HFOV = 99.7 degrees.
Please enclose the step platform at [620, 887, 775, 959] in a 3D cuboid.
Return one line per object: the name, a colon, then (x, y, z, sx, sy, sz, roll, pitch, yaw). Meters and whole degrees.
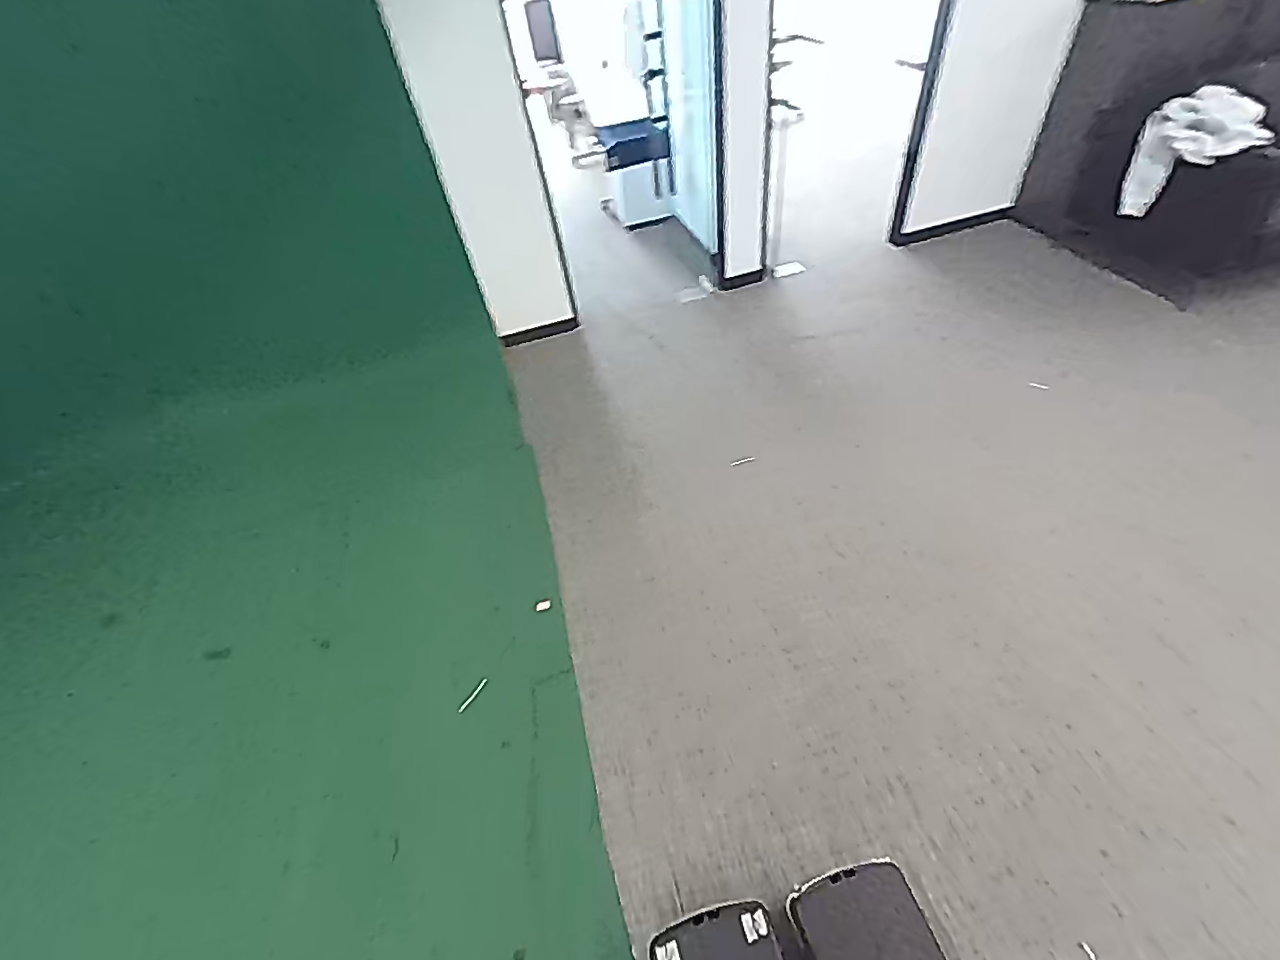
step platform: (0.181, 1.095, 0.867, 0.286, 0.204, 0.684, -15, 48, -6)
